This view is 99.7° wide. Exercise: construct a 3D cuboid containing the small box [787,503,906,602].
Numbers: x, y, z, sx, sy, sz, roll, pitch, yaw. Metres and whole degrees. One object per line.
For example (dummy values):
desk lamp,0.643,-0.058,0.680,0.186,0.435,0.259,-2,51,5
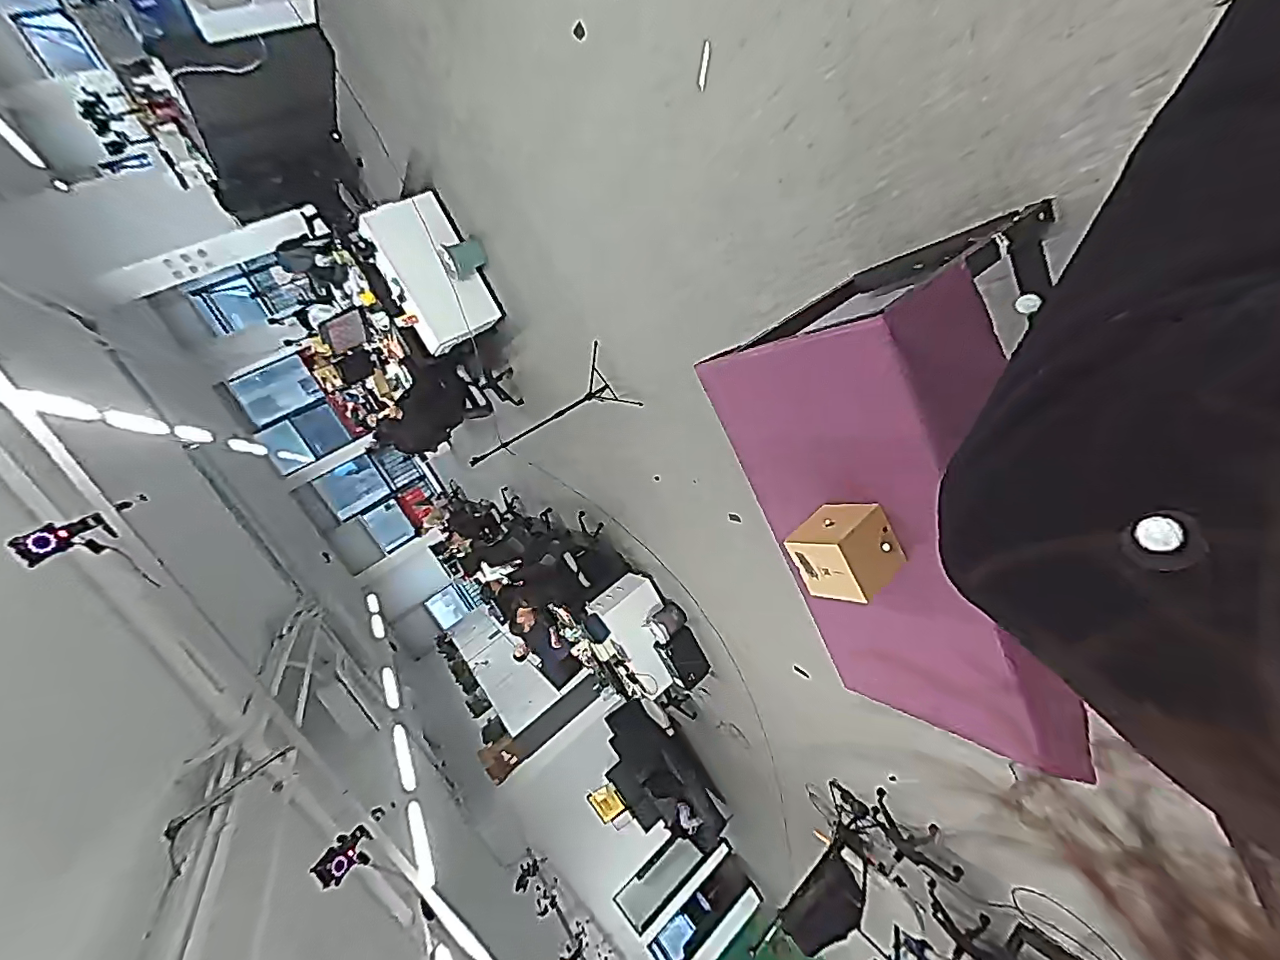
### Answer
small box,0.499,0.167,1.308,0.168,0.176,0.179,59,155,-11
